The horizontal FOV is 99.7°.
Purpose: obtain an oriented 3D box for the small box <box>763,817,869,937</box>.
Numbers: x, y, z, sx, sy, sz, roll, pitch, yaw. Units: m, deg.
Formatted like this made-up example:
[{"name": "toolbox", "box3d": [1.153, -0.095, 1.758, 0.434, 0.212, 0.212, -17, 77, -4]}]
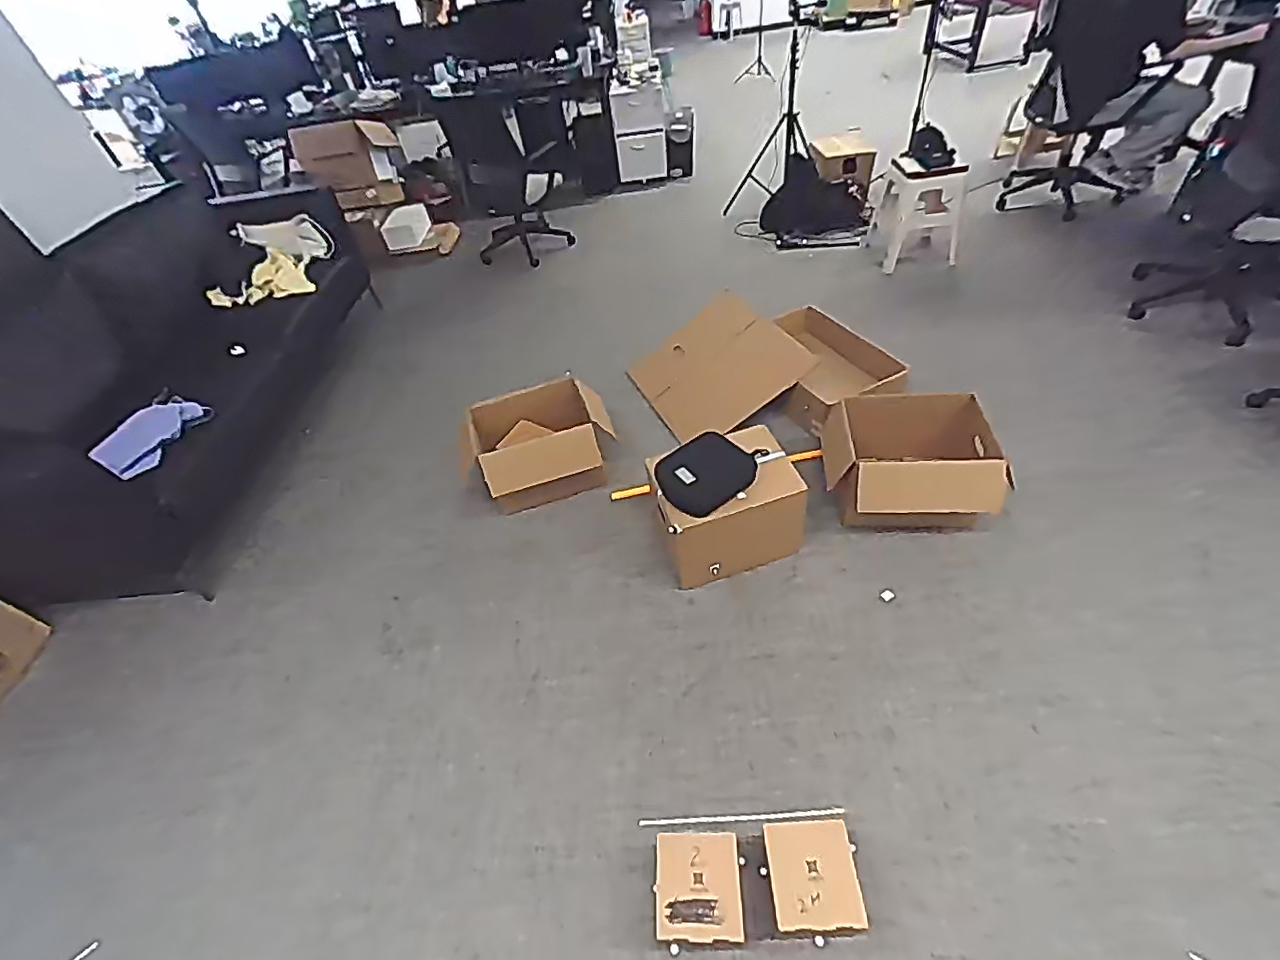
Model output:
[{"name": "small box", "box3d": [0.348, 0.812, 1.105, 0.168, 0.176, 0.179, -7, 46, 5]}]
